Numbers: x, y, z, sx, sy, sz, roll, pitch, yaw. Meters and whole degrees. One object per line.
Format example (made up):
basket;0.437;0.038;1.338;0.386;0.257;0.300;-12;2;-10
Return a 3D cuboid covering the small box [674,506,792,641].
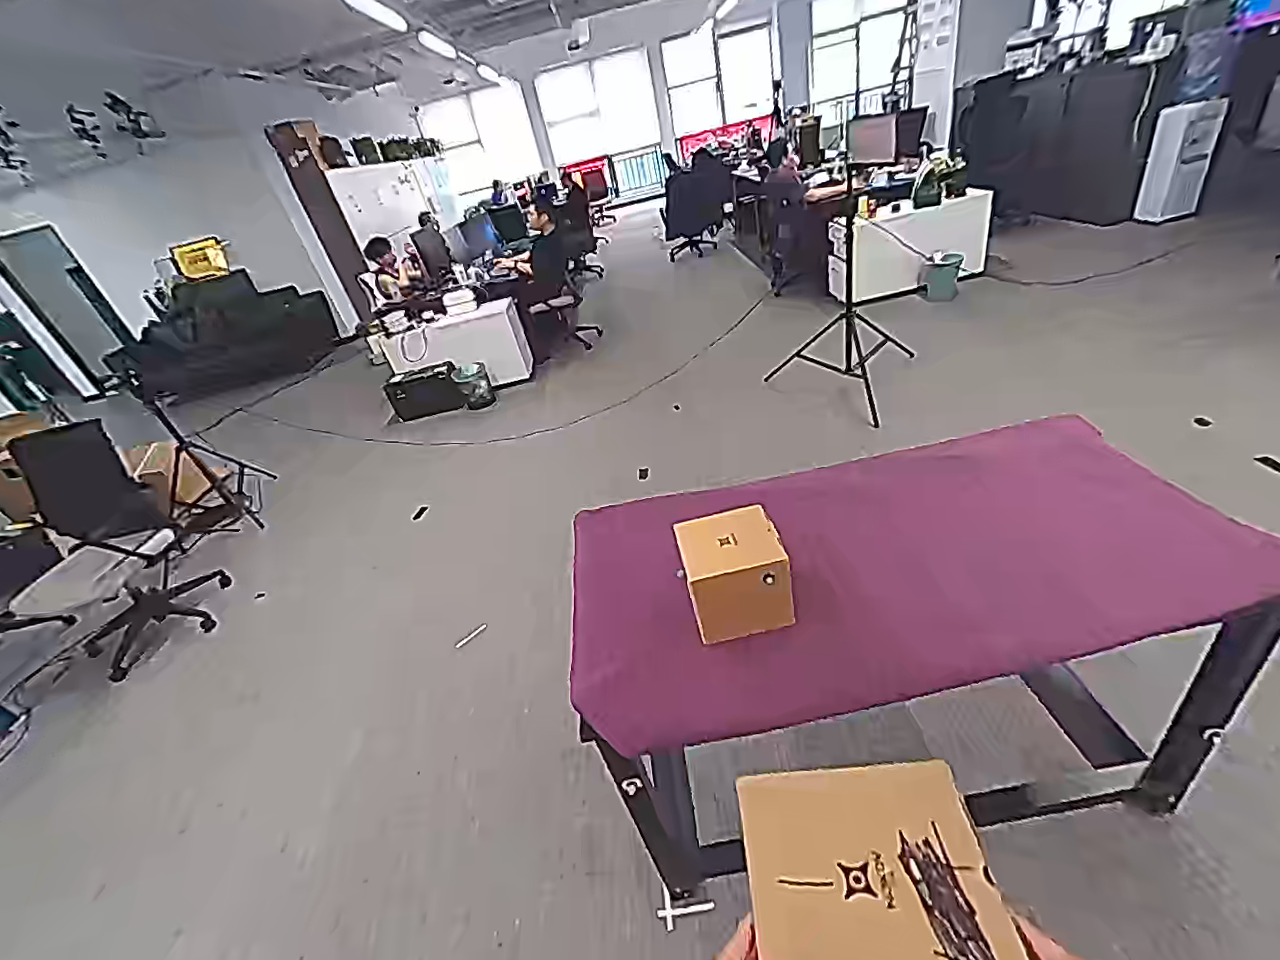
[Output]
small box;0.174;0.179;1.021;0.179;0.176;0.168;-14;32;1

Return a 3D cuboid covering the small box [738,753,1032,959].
small box;0.182;0.352;0.444;0.179;0.176;0.168;-9;34;8
